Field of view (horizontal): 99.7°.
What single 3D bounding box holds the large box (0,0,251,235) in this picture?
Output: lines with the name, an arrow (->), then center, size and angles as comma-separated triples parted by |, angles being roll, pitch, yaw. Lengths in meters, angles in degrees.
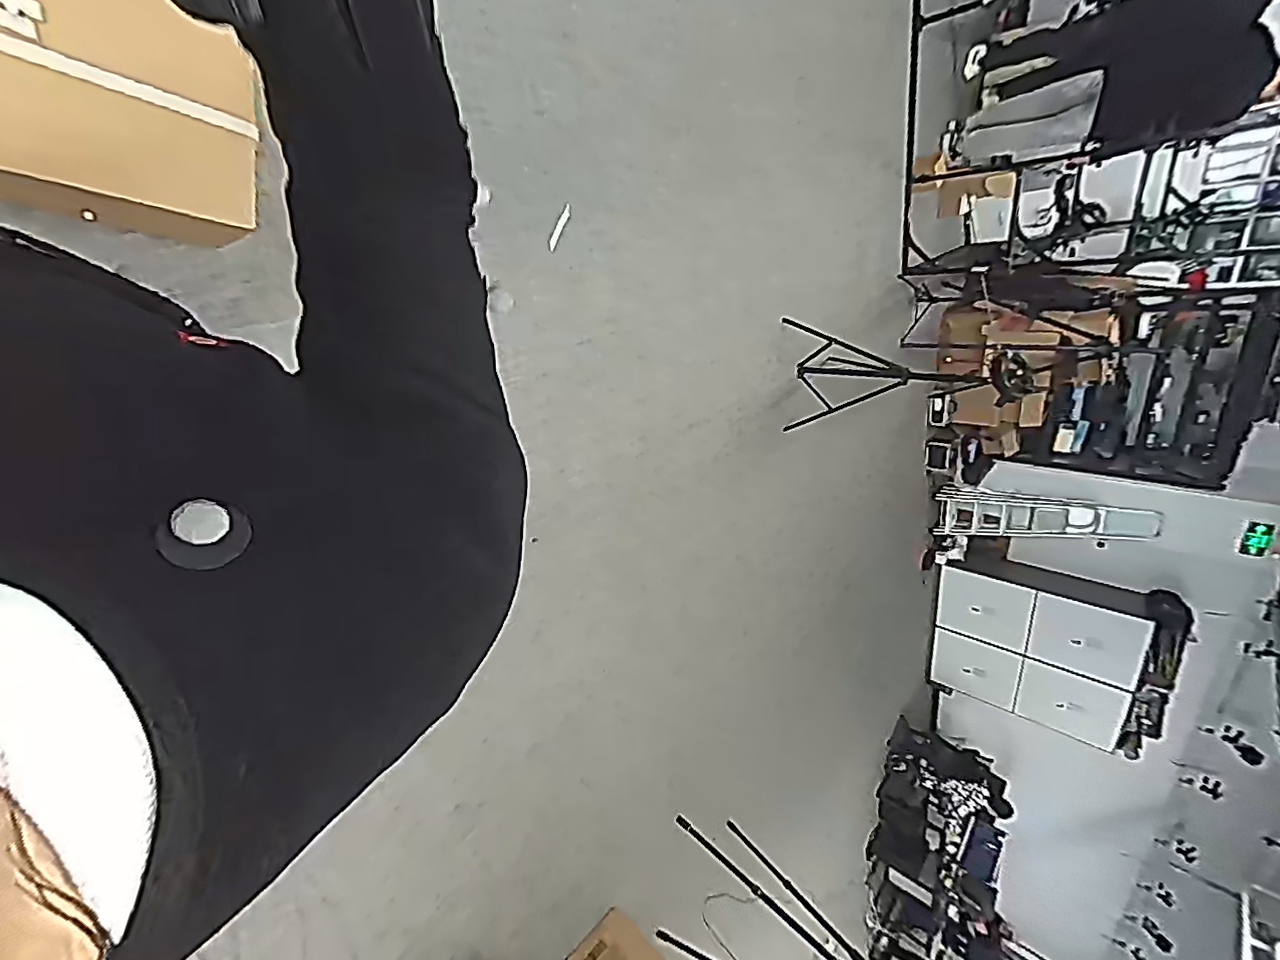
large box -> -0.905, -0.616, 0.872 | 0.408, 0.320, 0.320 | -4, 103, -46
